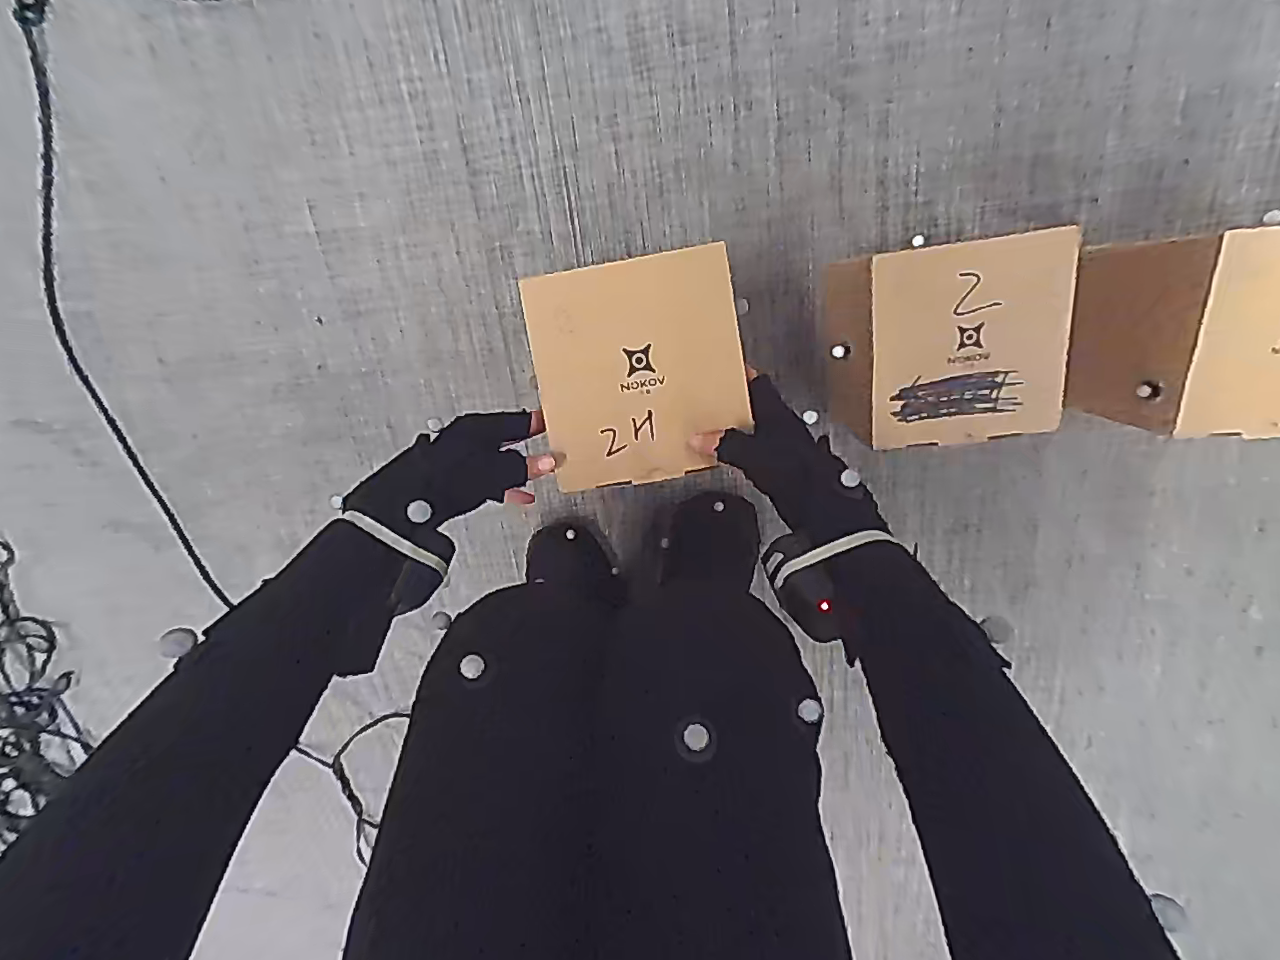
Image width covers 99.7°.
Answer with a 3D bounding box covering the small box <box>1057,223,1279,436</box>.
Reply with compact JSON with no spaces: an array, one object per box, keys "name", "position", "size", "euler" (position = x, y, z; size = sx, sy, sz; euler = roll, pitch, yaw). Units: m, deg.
[{"name":"small box","position":[0.558,-0.151,0.534],"size":[0.168,0.176,0.179],"euler":[-4,109,5]}]
